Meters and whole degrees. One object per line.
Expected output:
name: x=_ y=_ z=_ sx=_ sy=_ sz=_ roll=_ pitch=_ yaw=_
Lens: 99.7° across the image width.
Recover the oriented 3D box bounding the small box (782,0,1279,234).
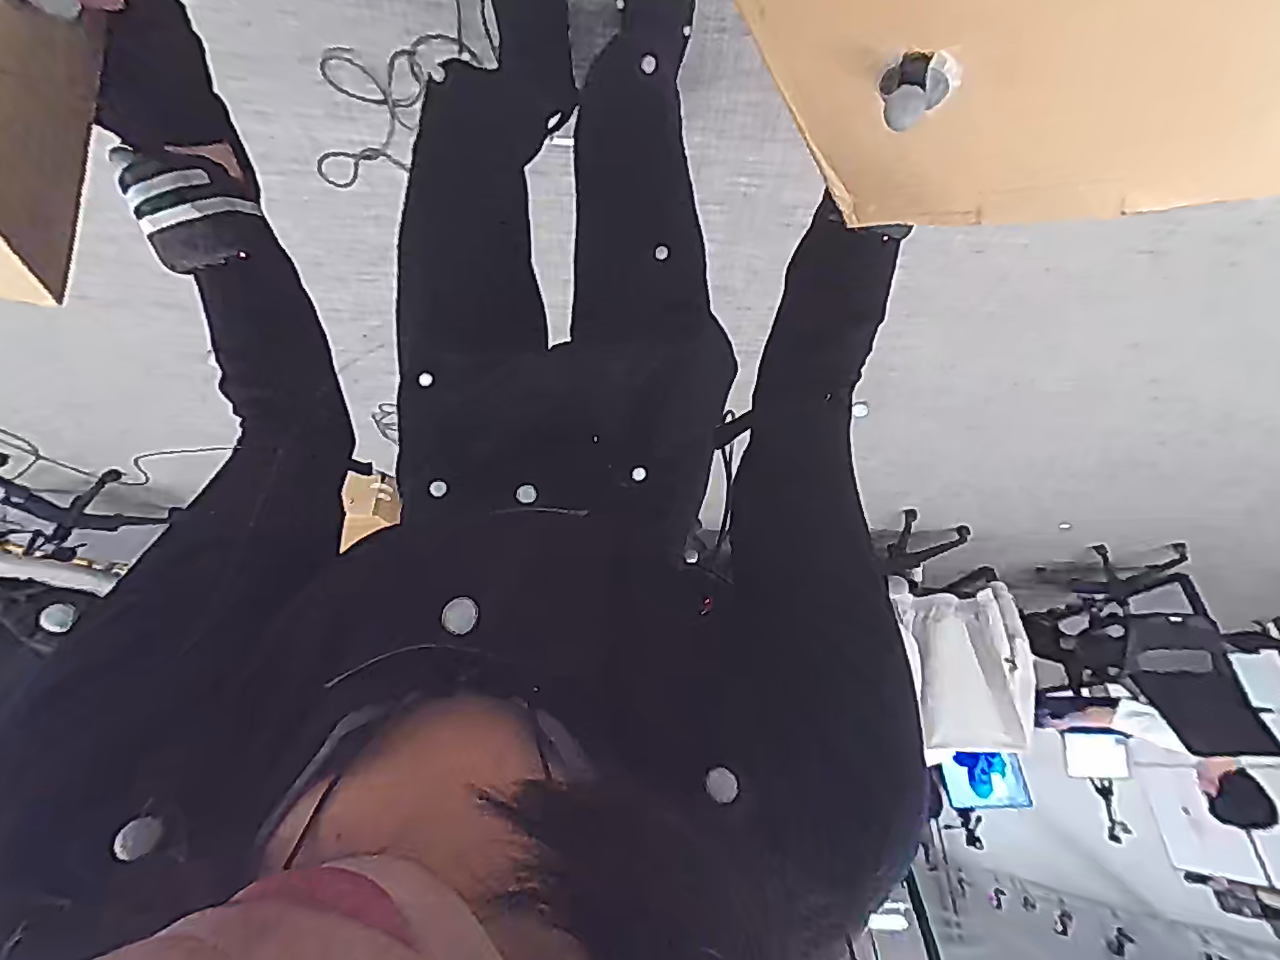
small box: x=0.140 y=-0.194 z=0.136 sx=0.168 sy=0.179 sz=0.176 roll=18 pitch=177 yaw=39
